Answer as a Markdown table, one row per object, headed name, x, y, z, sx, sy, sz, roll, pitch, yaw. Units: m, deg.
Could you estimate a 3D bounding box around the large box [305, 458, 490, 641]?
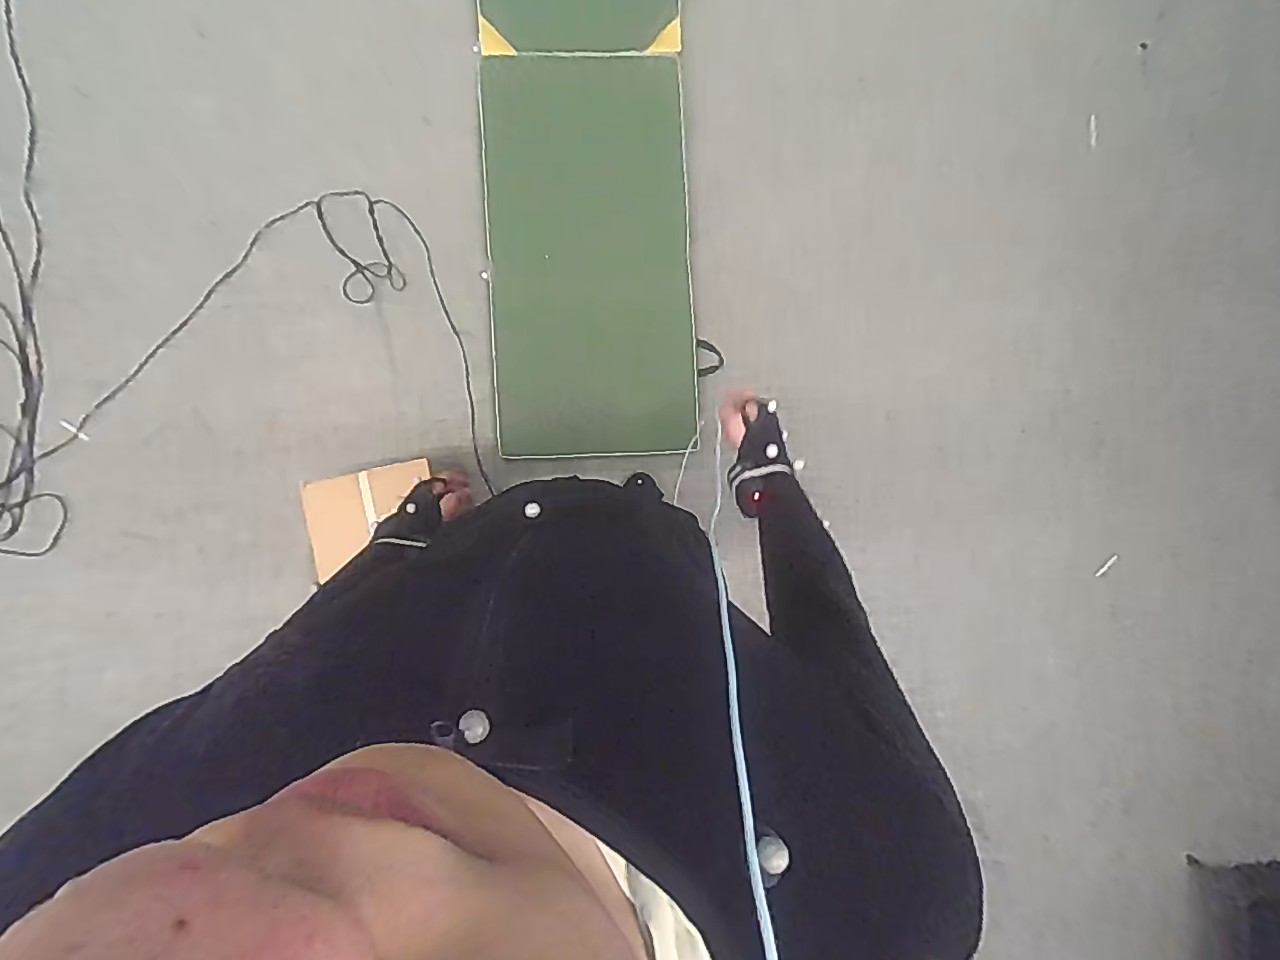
| name | x | y | z | sx | sy | sz | roll | pitch | yaw |
| --- | --- | --- | --- | --- | --- | --- | --- | --- | --- |
| large box | -0.634 | 0.174 | 1.475 | 0.320 | 0.320 | 0.408 | -12 | 89 | -3 |
